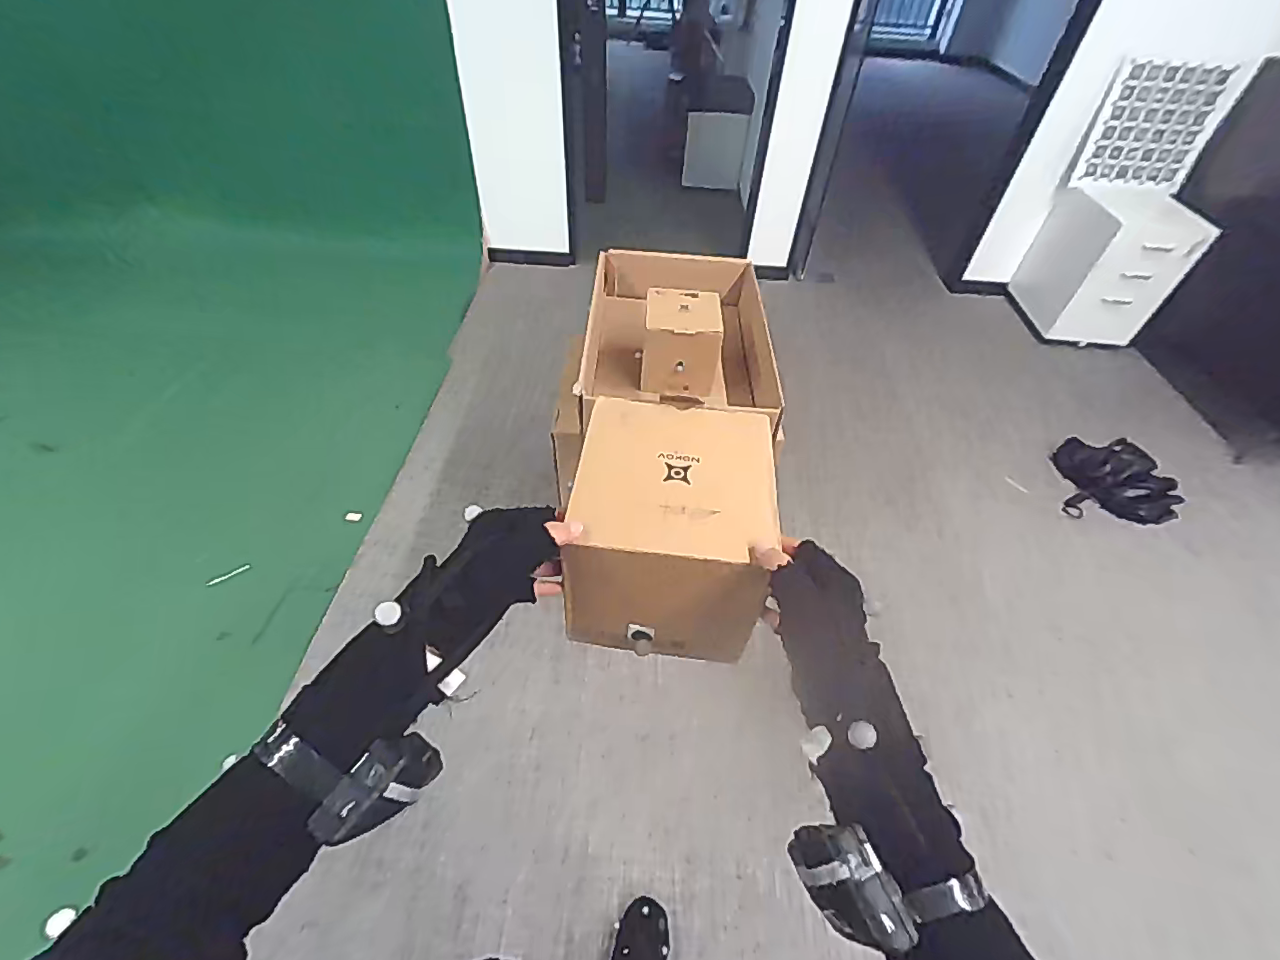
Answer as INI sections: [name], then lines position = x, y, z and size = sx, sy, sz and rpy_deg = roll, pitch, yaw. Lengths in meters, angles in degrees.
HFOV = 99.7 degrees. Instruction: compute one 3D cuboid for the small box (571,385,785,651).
[small box]
position = 0.030, 0.037, 0.515
size = 0.168, 0.176, 0.179
rpy_deg = 7, 48, 1
